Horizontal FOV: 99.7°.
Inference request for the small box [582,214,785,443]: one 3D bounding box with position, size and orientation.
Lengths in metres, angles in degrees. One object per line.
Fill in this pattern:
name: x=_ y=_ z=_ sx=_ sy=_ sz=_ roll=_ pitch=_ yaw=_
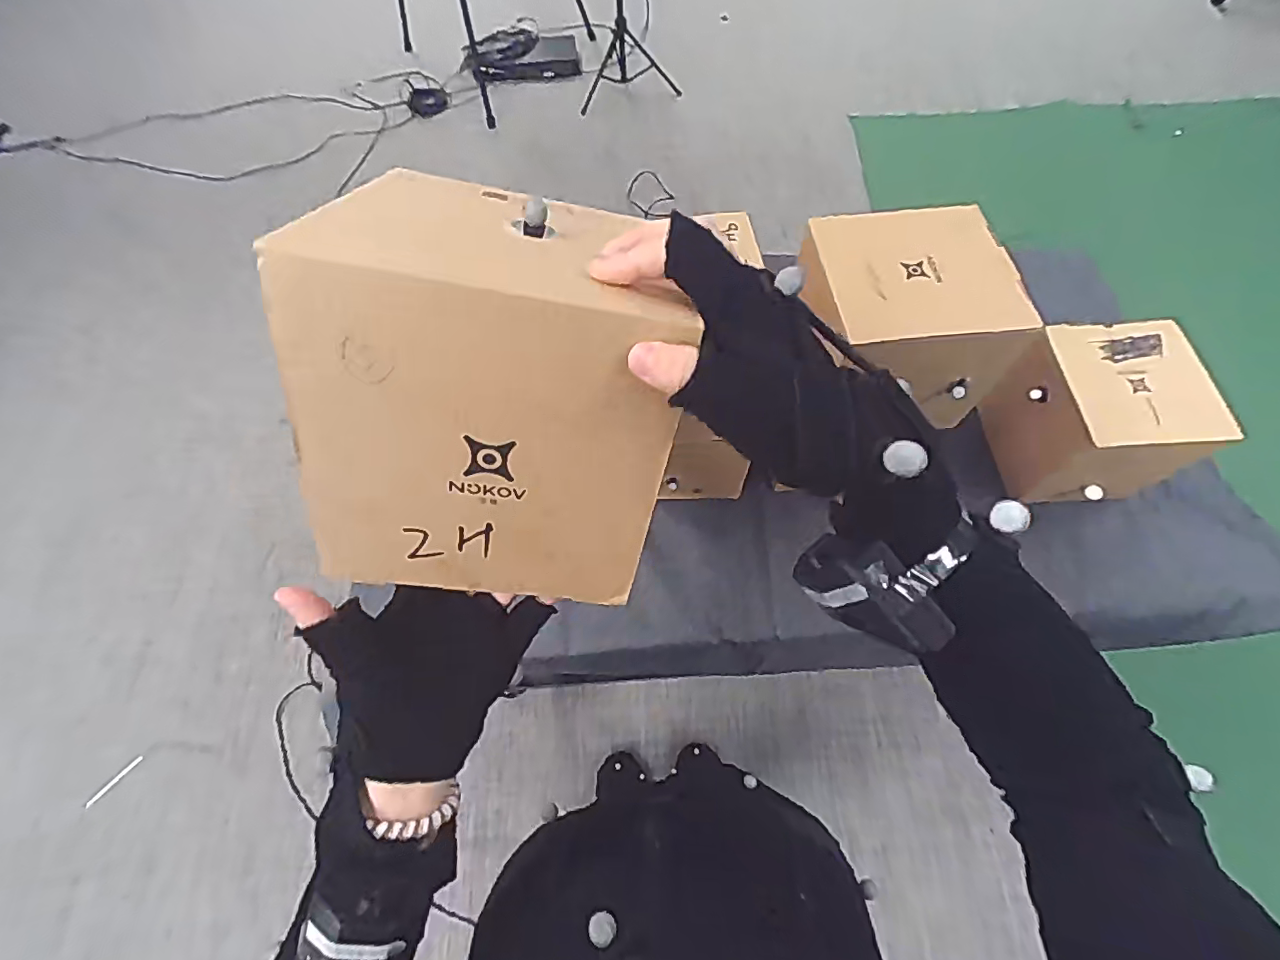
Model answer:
small box: x=0.041 y=-0.153 z=0.589 sx=0.179 sy=0.176 sz=0.168 roll=-8 pitch=65 yaw=-1
